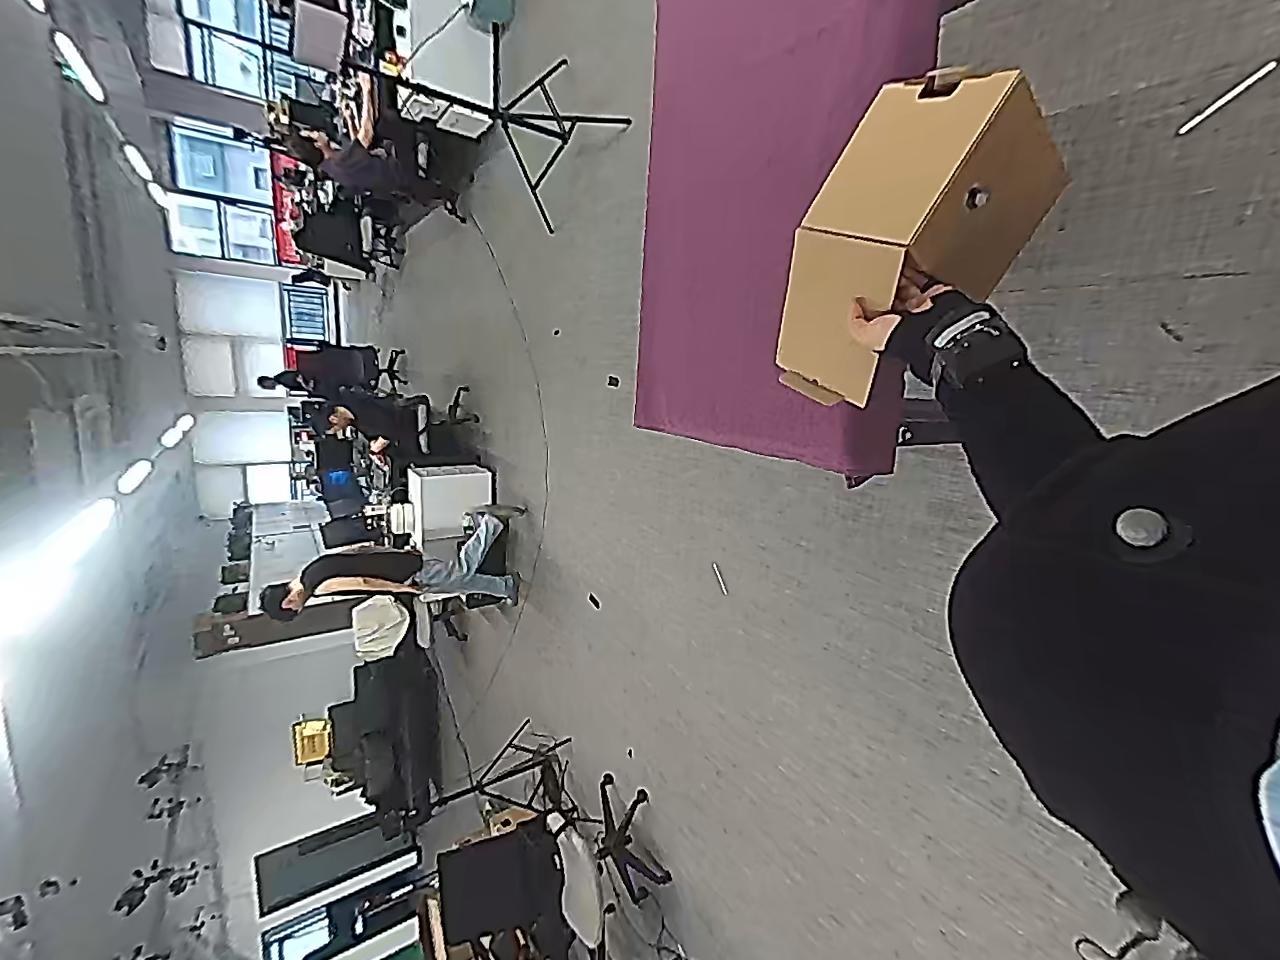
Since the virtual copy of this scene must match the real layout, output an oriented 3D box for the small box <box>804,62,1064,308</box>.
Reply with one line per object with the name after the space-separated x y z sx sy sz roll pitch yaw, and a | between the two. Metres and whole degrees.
0.333 -0.323 0.617 0.179 0.176 0.168 -59 38 14 | small box
